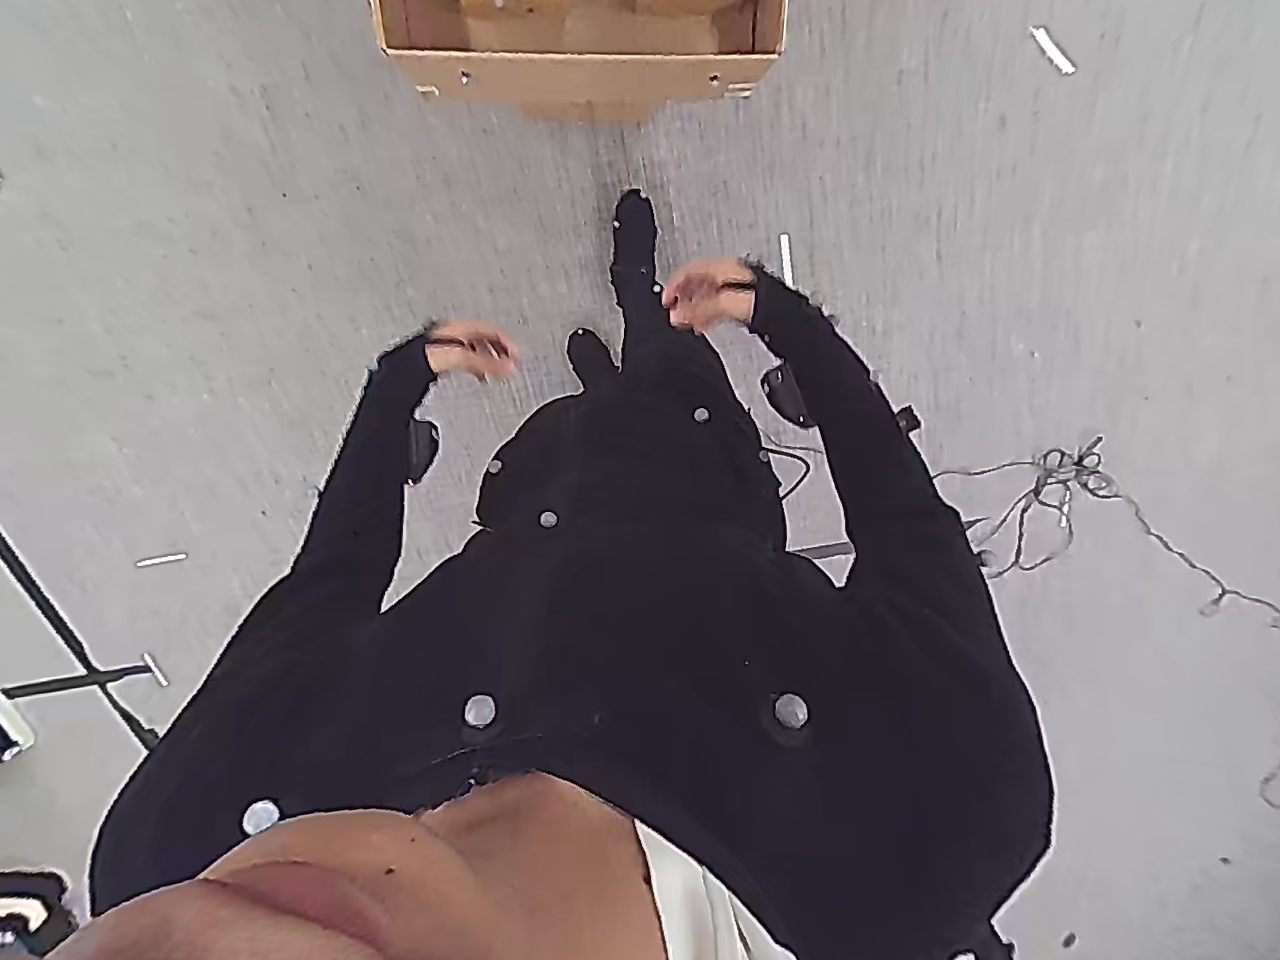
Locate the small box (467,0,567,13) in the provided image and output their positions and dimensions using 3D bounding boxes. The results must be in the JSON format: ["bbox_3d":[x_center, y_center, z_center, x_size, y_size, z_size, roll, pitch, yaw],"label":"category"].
[{"bbox_3d":[-0.197,-0.821,0.791,0.168,0.176,0.179,-4,111,-4],"label":"small box"}]
